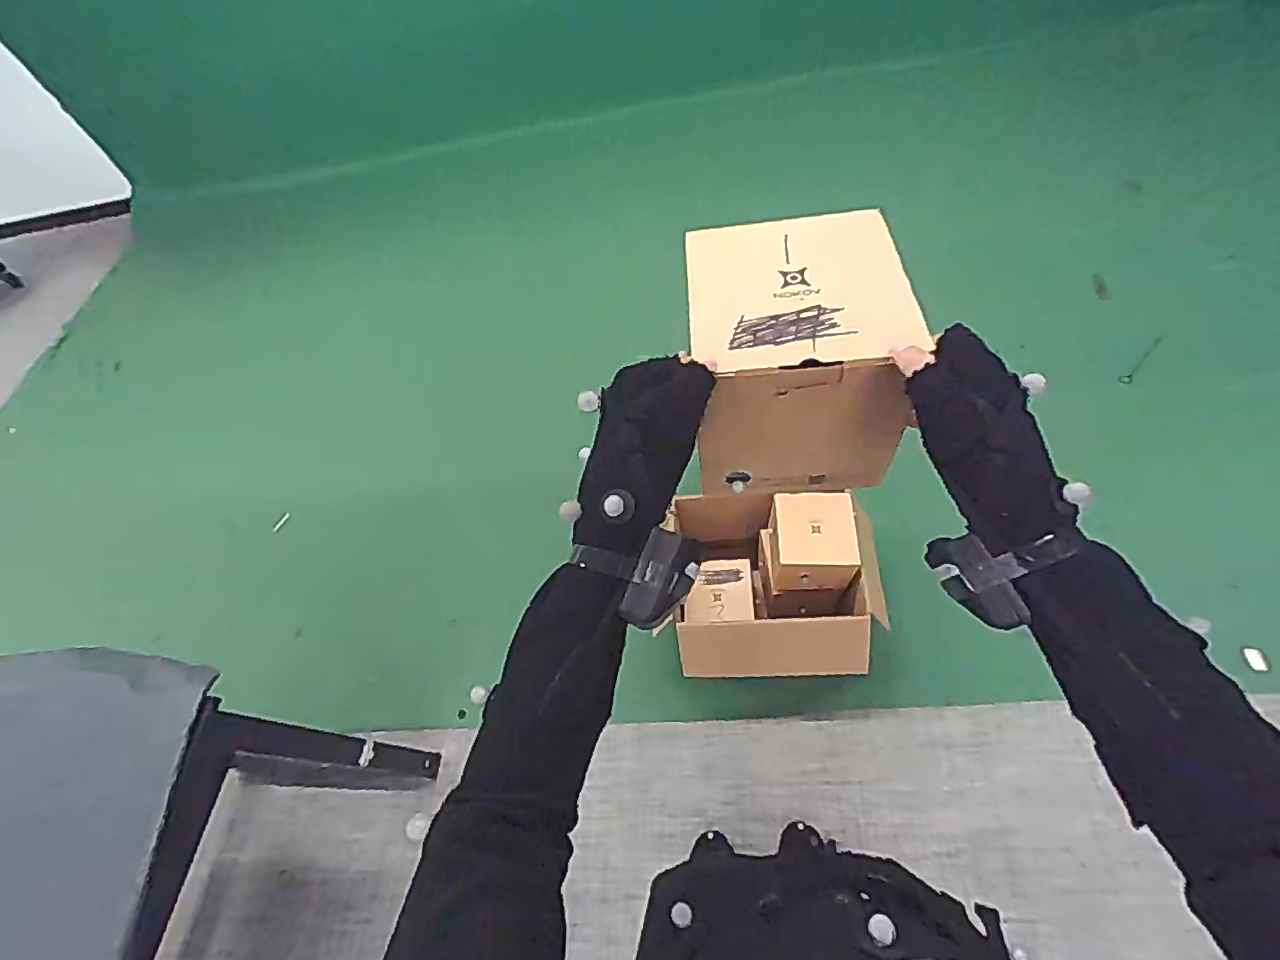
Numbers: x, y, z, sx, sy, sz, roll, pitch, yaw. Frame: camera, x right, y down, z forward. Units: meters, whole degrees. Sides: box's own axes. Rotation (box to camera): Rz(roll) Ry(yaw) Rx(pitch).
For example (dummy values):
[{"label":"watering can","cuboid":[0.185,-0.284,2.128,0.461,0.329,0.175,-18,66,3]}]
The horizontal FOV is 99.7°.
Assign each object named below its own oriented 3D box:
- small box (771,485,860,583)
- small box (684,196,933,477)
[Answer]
[{"label":"small box","cuboid":[0.391,0.128,1.231,0.168,0.176,0.179,-1,59,8]},{"label":"small box","cuboid":[0.129,-0.113,0.477,0.168,0.176,0.179,-4,57,8]}]
